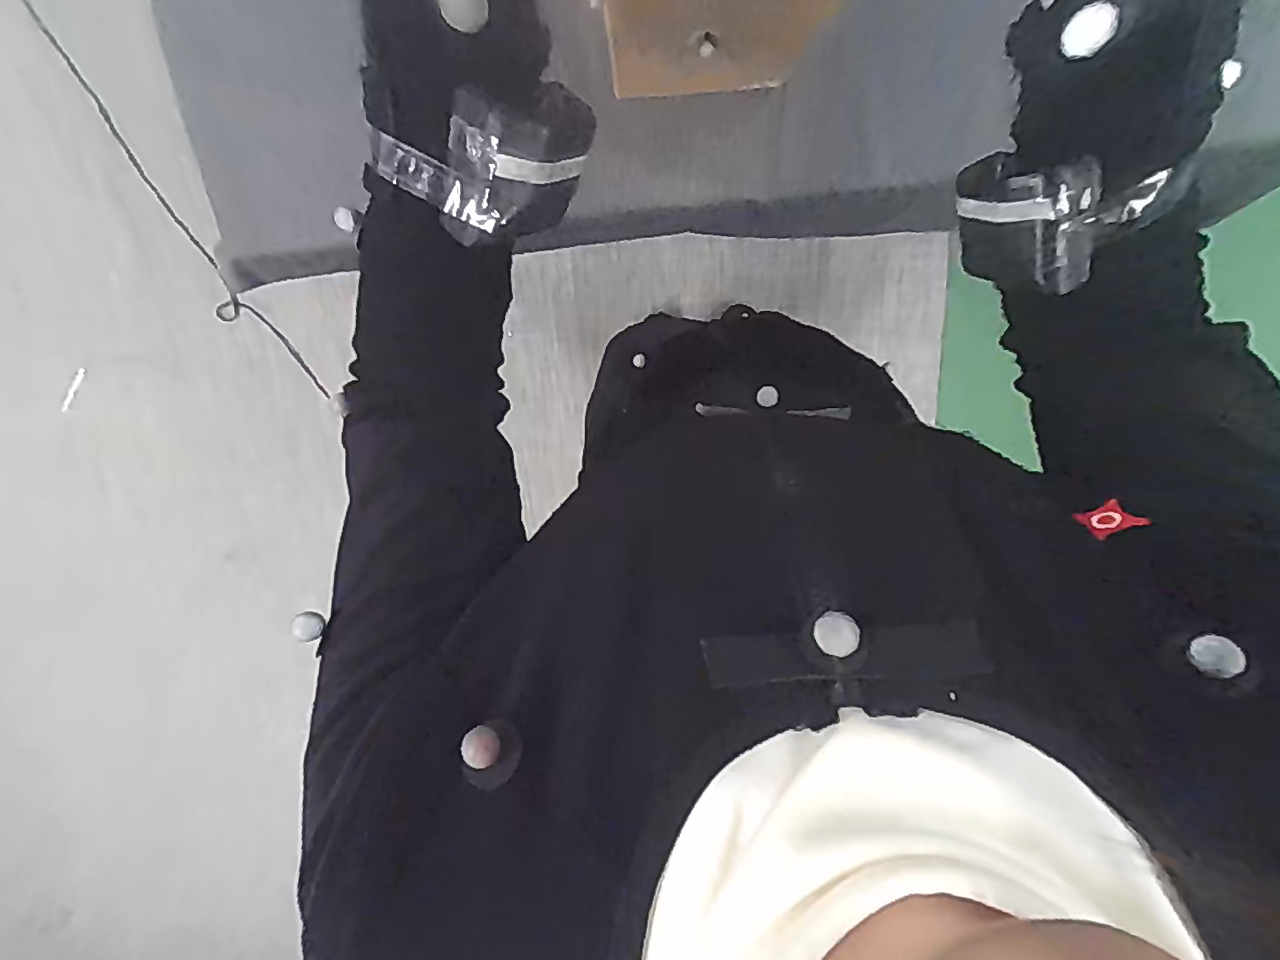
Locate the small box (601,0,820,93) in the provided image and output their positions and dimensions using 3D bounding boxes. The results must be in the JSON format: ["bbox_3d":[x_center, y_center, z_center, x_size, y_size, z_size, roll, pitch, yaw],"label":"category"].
[{"bbox_3d":[0.054,-0.461,0.466,0.179,0.176,0.168,-4,109,2],"label":"small box"}]

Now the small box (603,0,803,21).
[{"bbox_3d":[0.052,-0.406,0.311,0.179,0.176,0.168,-3,108,4],"label":"small box"}]
